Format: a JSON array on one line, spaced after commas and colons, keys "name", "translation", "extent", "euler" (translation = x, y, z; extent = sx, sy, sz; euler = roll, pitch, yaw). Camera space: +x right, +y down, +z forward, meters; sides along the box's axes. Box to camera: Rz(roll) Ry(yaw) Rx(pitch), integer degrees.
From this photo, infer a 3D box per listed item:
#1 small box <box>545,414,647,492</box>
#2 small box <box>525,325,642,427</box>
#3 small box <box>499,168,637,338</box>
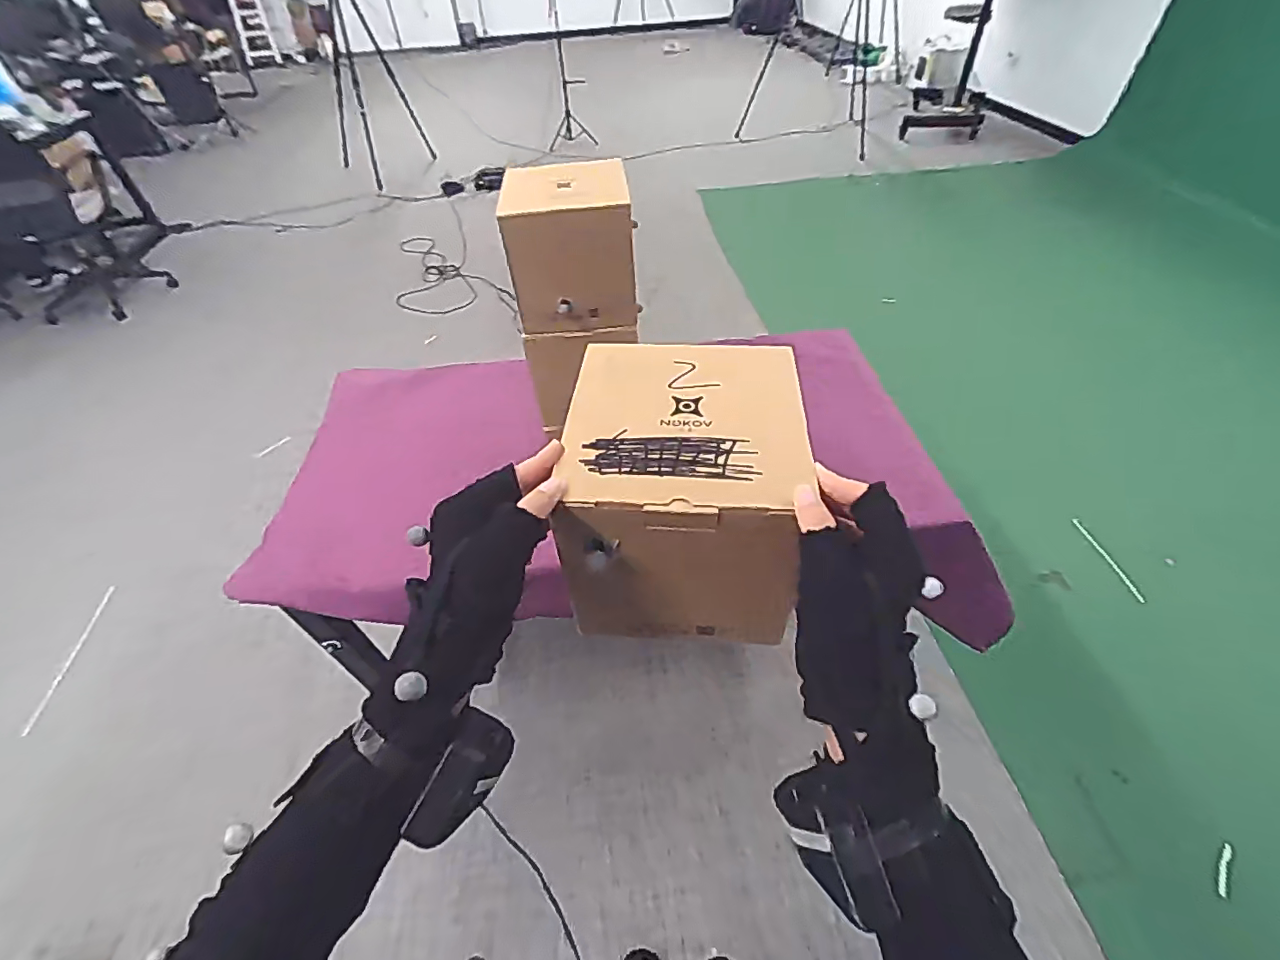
[{"name": "small box", "translation": [-0.076, -0.090, 1.003], "extent": [0.168, 0.176, 0.179], "euler": [-5, 46, -1]}, {"name": "small box", "translation": [-0.086, -0.209, 0.889], "extent": [0.168, 0.176, 0.179], "euler": [-6, 47, -1]}, {"name": "small box", "translation": [-0.094, -0.324, 0.774], "extent": [0.168, 0.176, 0.179], "euler": [-6, 47, -1]}]
